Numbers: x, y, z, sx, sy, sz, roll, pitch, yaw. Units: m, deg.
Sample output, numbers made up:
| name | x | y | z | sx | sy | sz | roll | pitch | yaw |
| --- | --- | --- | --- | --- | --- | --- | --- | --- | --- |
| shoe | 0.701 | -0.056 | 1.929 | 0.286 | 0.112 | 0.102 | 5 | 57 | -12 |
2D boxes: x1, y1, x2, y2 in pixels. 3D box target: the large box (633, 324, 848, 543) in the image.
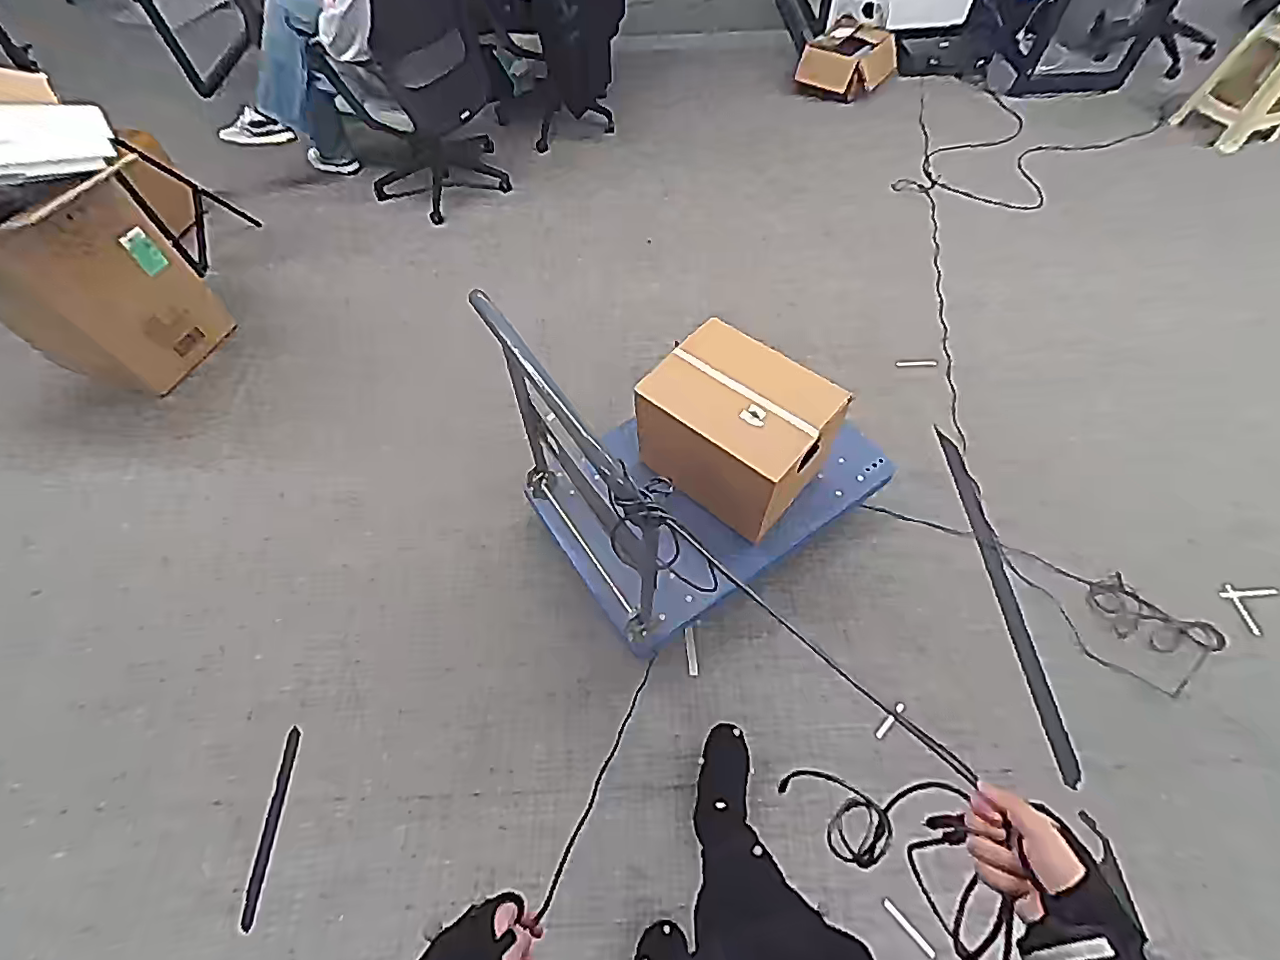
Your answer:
| name | x | y | z | sx | sy | sz | roll | pitch | yaw |
| --- | --- | --- | --- | --- | --- | --- | --- | --- | --- |
| large box | 0.230 | -0.116 | 1.371 | 0.408 | 0.320 | 0.320 | 36 | 67 | 21 |
